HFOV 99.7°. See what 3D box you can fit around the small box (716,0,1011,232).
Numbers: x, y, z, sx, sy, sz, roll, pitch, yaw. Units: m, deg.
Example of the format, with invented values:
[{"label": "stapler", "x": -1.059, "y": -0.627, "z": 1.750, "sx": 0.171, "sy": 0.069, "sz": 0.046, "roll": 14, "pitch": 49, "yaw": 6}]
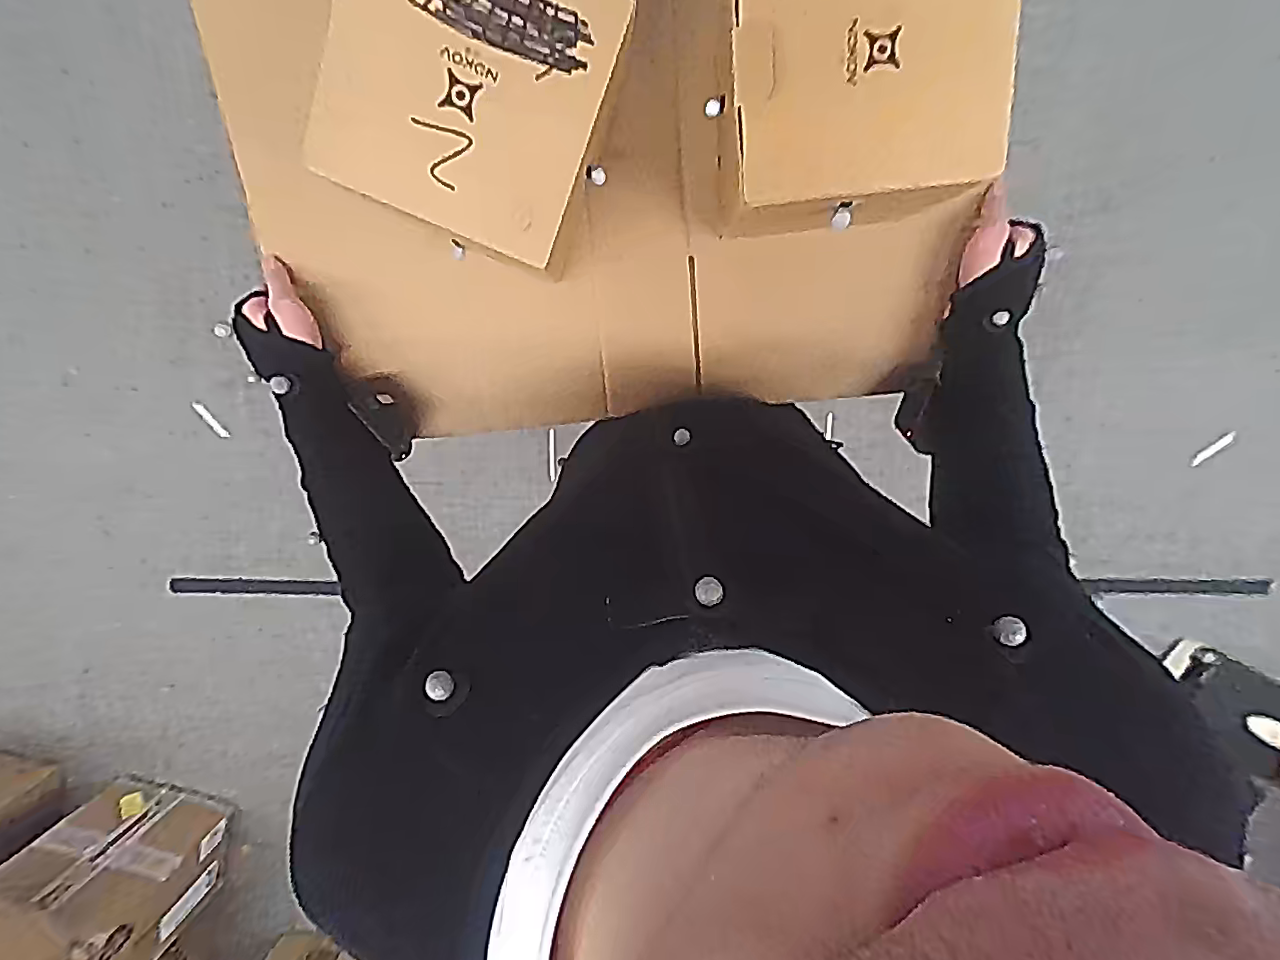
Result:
[{"label": "small box", "x": 0.159, "y": -0.306, "z": 0.437, "sx": 0.179, "sy": 0.176, "sz": 0.168, "roll": -4, "pitch": 107, "yaw": 5}]
